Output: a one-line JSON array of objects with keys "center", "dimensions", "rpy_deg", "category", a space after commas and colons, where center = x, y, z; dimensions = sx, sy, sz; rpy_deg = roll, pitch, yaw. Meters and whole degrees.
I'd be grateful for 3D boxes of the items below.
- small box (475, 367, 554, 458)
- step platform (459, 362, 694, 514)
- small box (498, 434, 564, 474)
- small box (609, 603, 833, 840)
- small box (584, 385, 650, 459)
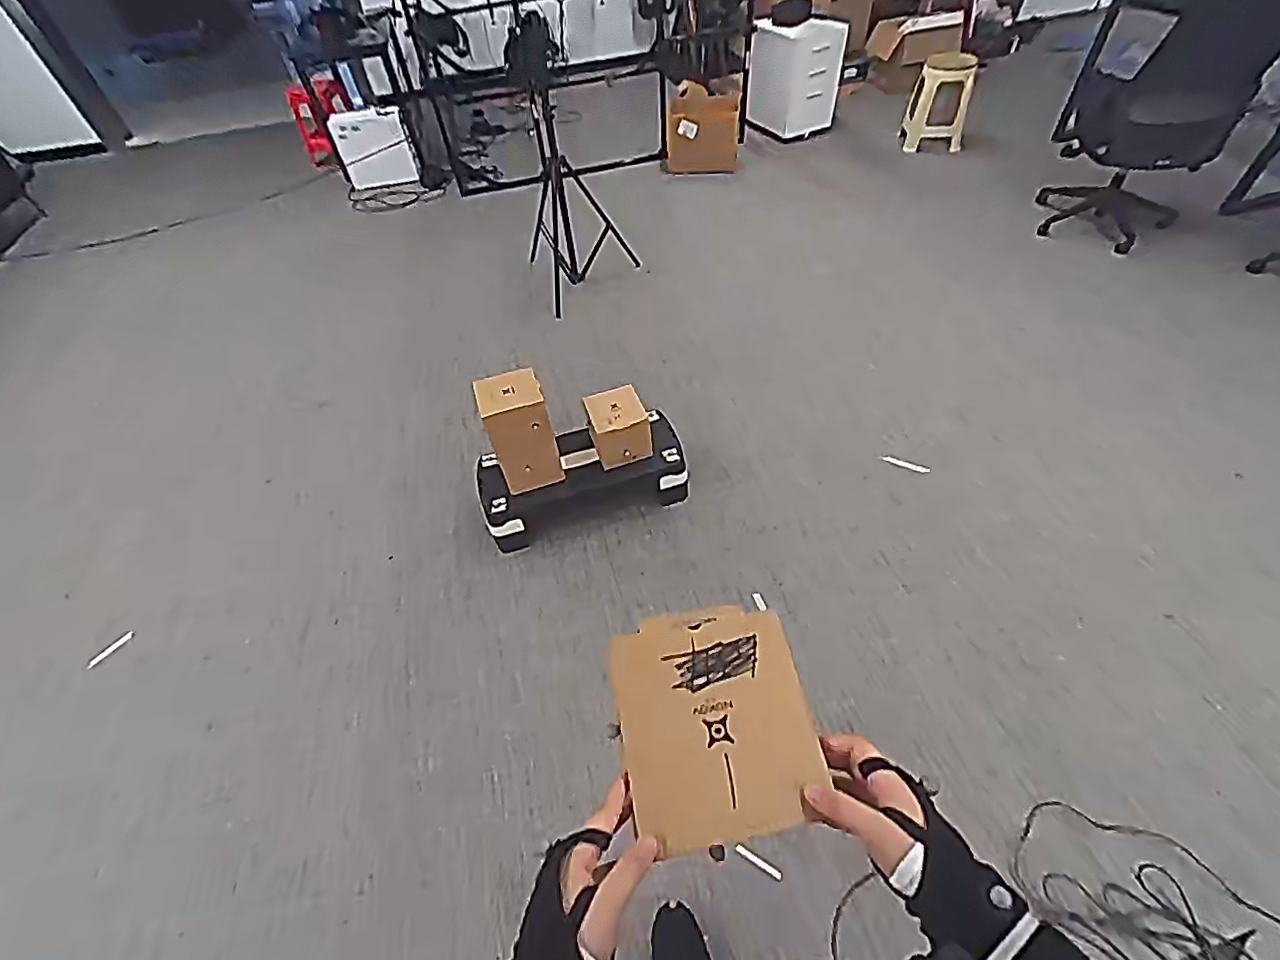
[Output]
[{"center": [-0.355, -0.191, 1.556], "dimensions": [0.179, 0.176, 0.168], "rpy_deg": [-18, 50, -10], "category": "small box"}, {"center": [-0.185, -0.130, 1.656], "dimensions": [0.684, 0.204, 0.286], "rpy_deg": [-16, 50, -9], "category": "step platform"}, {"center": [-0.344, -0.088, 1.683], "dimensions": [0.179, 0.176, 0.168], "rpy_deg": [-18, 51, -9], "category": "small box"}, {"center": [0.060, 0.244, 0.543], "dimensions": [0.168, 0.176, 0.179], "rpy_deg": [-7, 59, -8], "category": "small box"}, {"center": [-0.069, -0.171, 1.724], "dimensions": [0.168, 0.176, 0.179], "rpy_deg": [-18, 52, -8], "category": "small box"}]
